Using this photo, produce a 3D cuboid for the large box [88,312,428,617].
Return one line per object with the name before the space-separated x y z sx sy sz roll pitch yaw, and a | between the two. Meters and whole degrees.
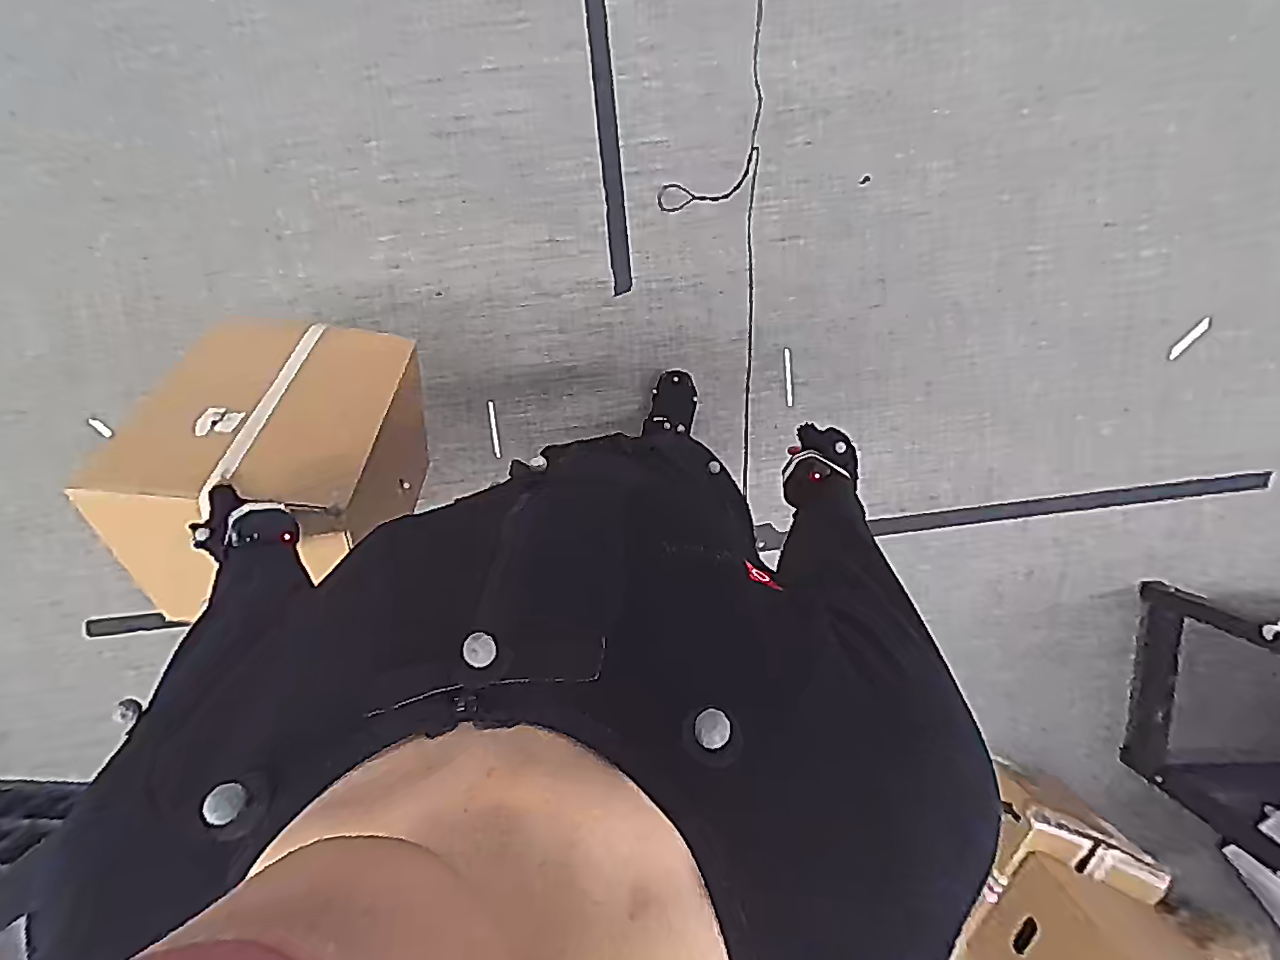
large box | -0.570 -0.026 0.926 0.320 0.408 0.320 6 137 -9
